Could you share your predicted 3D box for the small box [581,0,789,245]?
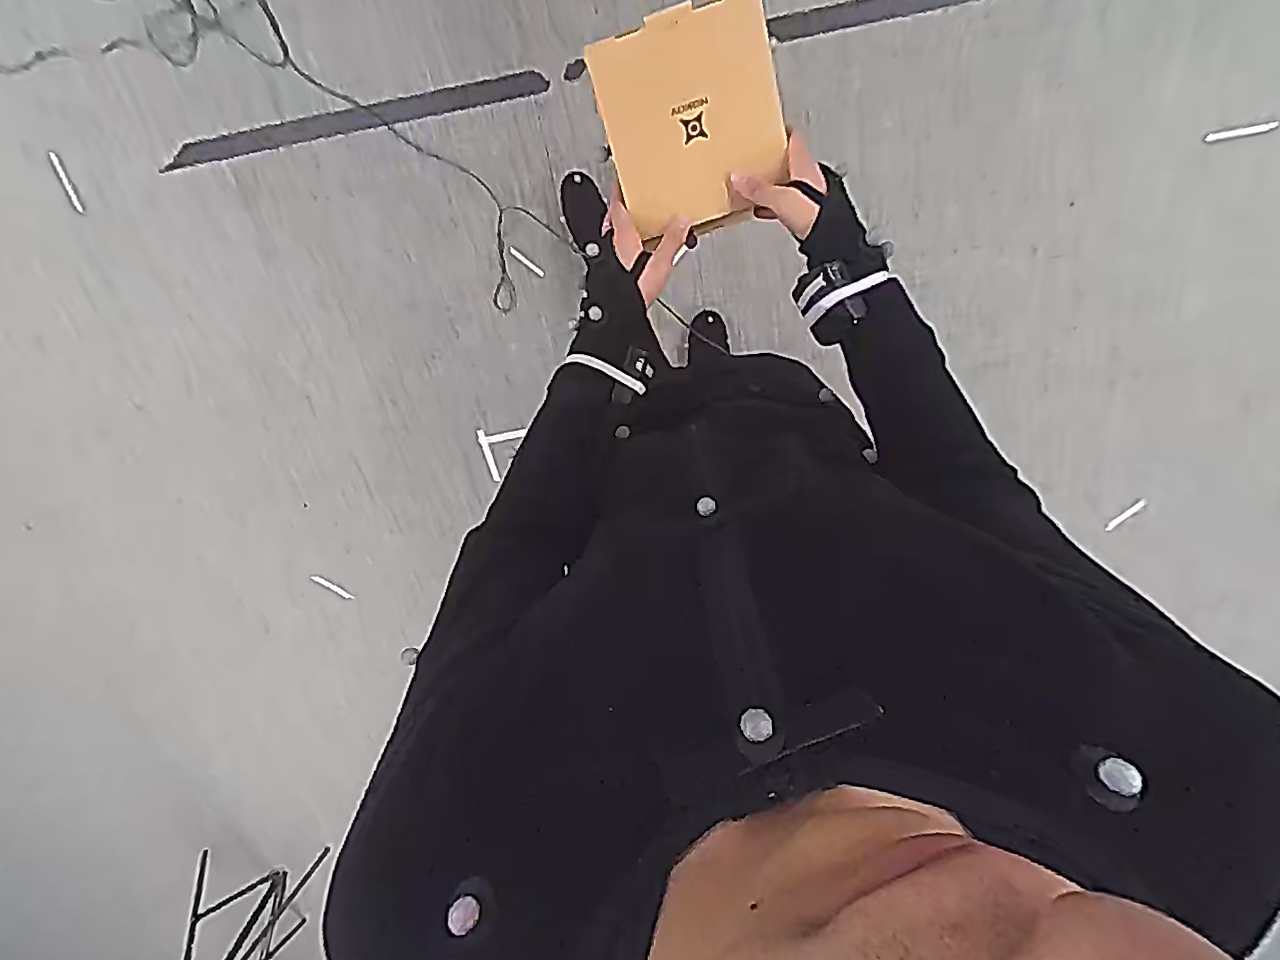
[{"bbox_3d":[0.049,-0.368,0.589,0.168,0.176,0.179,-15,106,6],"label":"small box"}]
